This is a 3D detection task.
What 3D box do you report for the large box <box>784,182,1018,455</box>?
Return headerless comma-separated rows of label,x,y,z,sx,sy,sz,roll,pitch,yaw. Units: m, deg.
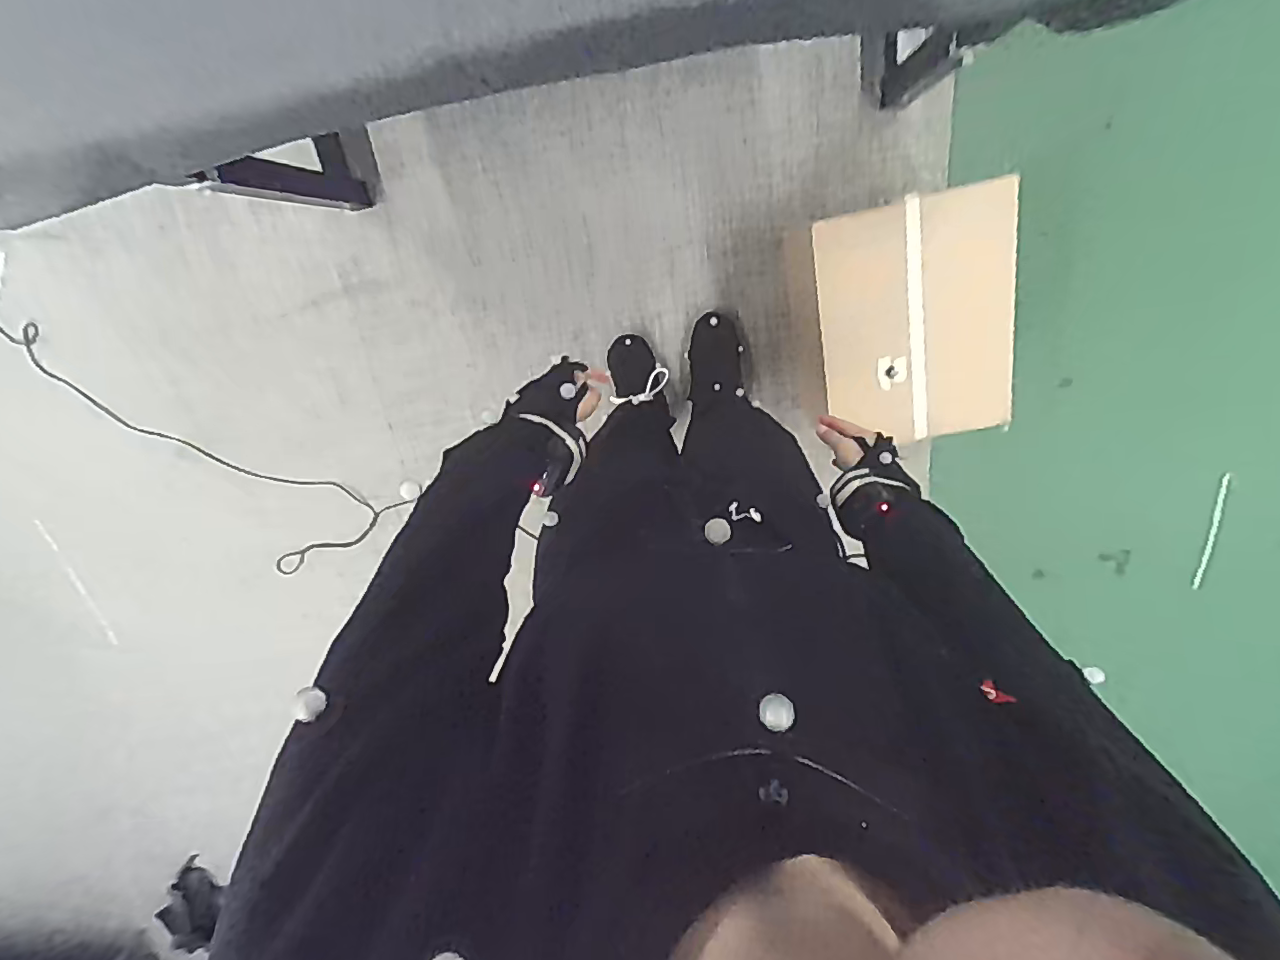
large box,0.484,-0.308,1.053,0.320,0.320,0.408,-10,111,9
